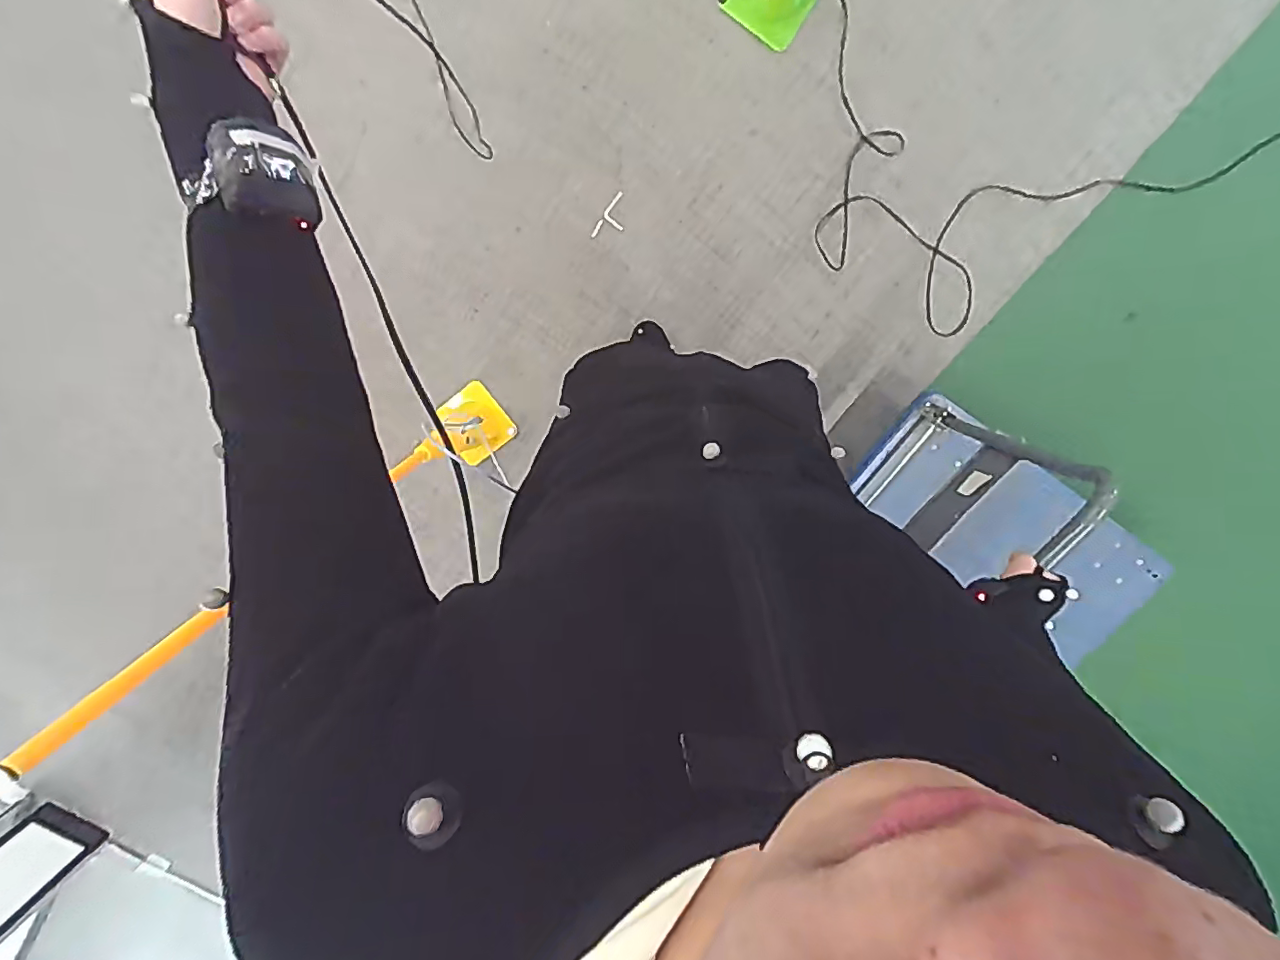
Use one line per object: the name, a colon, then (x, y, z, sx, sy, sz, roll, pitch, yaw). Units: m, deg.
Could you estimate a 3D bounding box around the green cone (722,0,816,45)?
green cone: (0.305, -1.099, 1.076, 0.200, 0.368, 0.202, 32, 105, -6)
